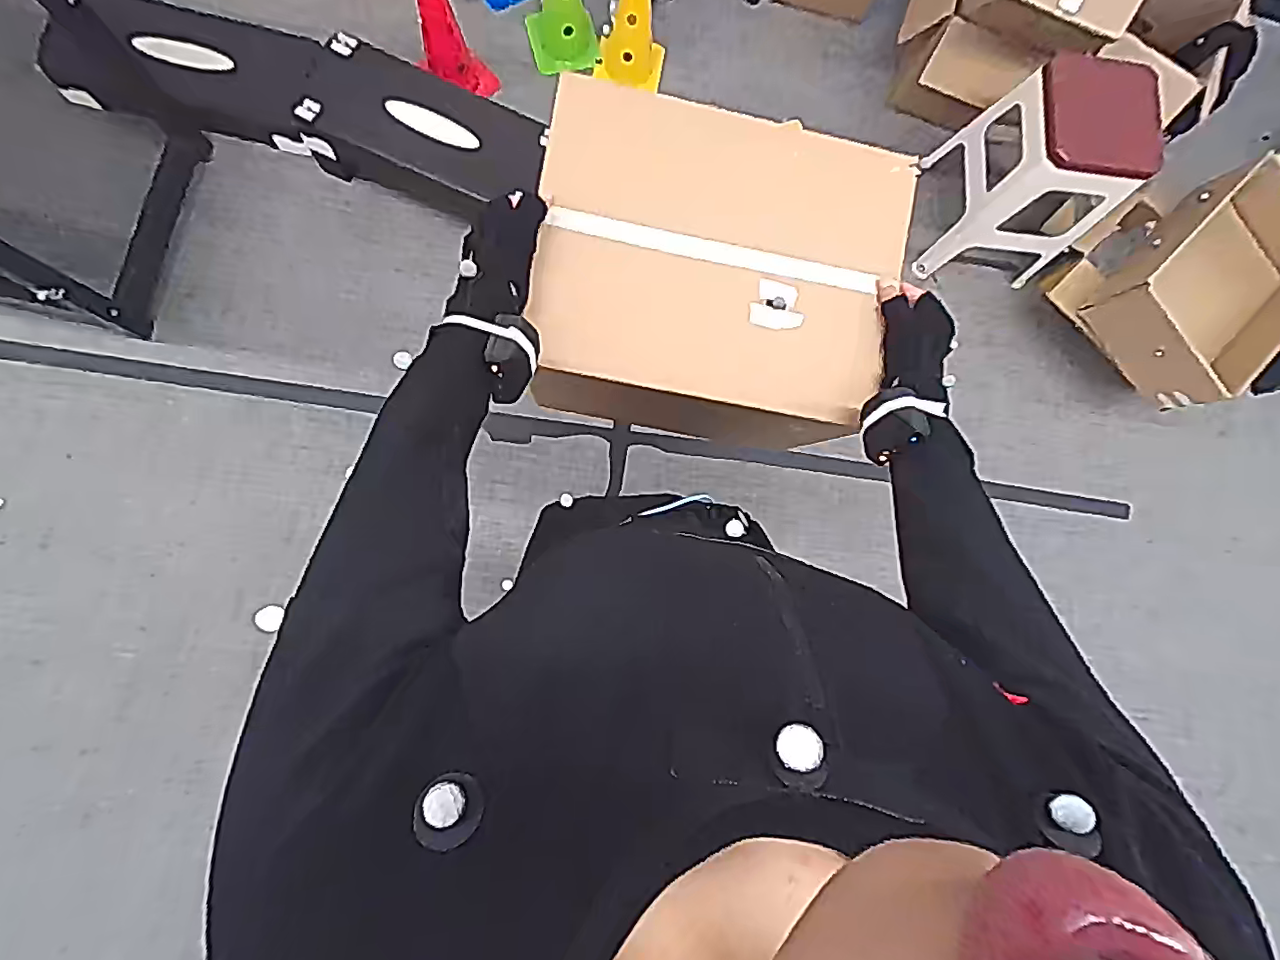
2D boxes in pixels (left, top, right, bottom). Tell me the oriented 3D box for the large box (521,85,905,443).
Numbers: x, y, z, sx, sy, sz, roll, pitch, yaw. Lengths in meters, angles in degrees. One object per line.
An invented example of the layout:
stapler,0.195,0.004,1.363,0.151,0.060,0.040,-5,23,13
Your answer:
large box,0.072,-0.245,0.744,0.408,0.320,0.320,10,88,-6
